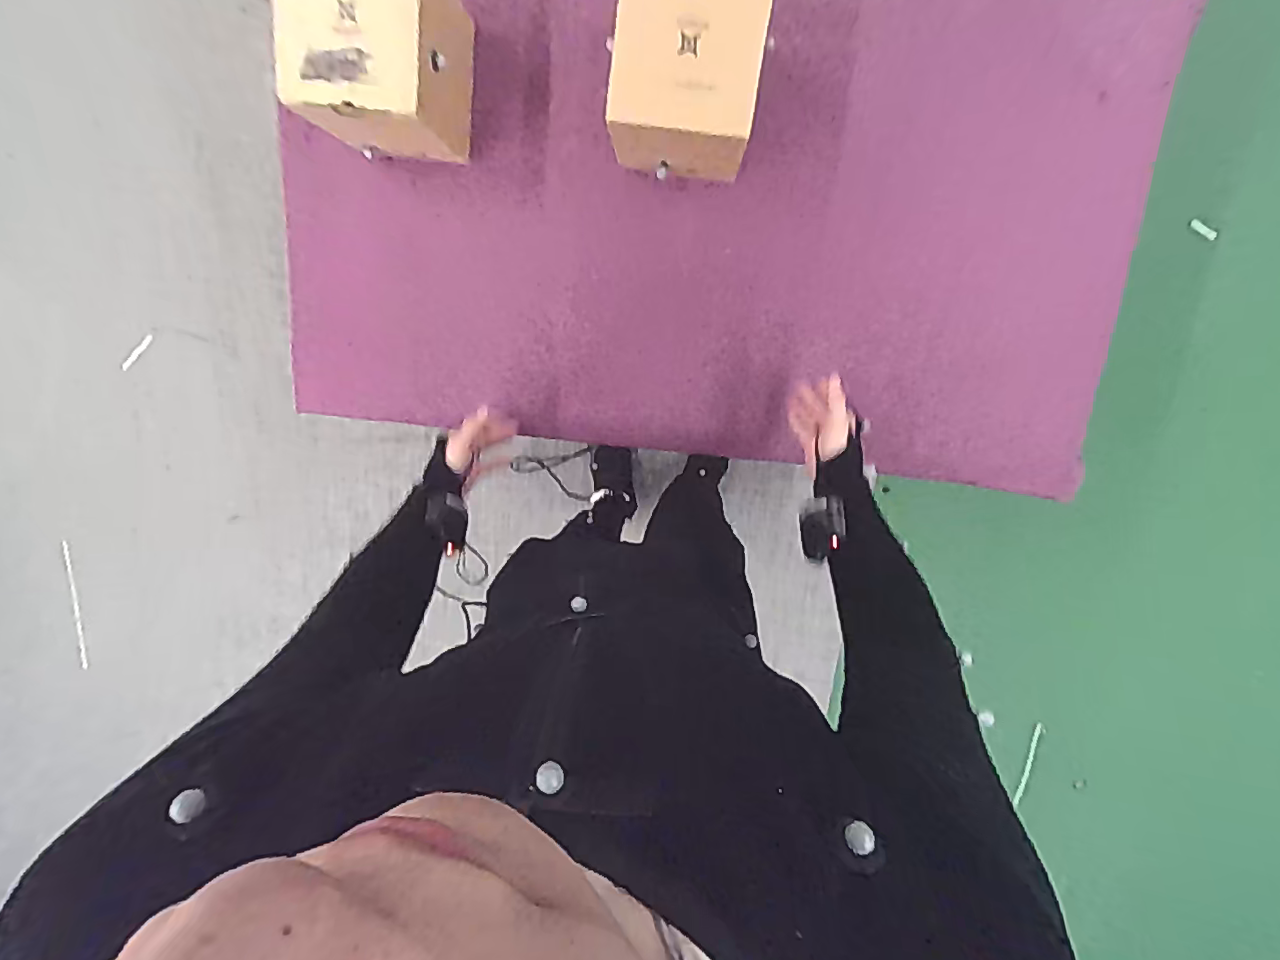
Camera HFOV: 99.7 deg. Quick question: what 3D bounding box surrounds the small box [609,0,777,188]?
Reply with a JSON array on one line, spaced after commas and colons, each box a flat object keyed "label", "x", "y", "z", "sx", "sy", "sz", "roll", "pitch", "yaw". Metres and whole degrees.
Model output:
[{"label": "small box", "x": 0.059, "y": -0.488, "z": 0.668, "sx": 0.168, "sy": 0.176, "sz": 0.179, "roll": 9, "pitch": 105, "yaw": 1}]

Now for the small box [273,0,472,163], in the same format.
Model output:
[{"label": "small box", "x": -0.317, "y": -0.518, "z": 0.671, "sx": 0.168, "sy": 0.176, "sz": 0.179, "roll": 7, "pitch": 104, "yaw": 0}]
